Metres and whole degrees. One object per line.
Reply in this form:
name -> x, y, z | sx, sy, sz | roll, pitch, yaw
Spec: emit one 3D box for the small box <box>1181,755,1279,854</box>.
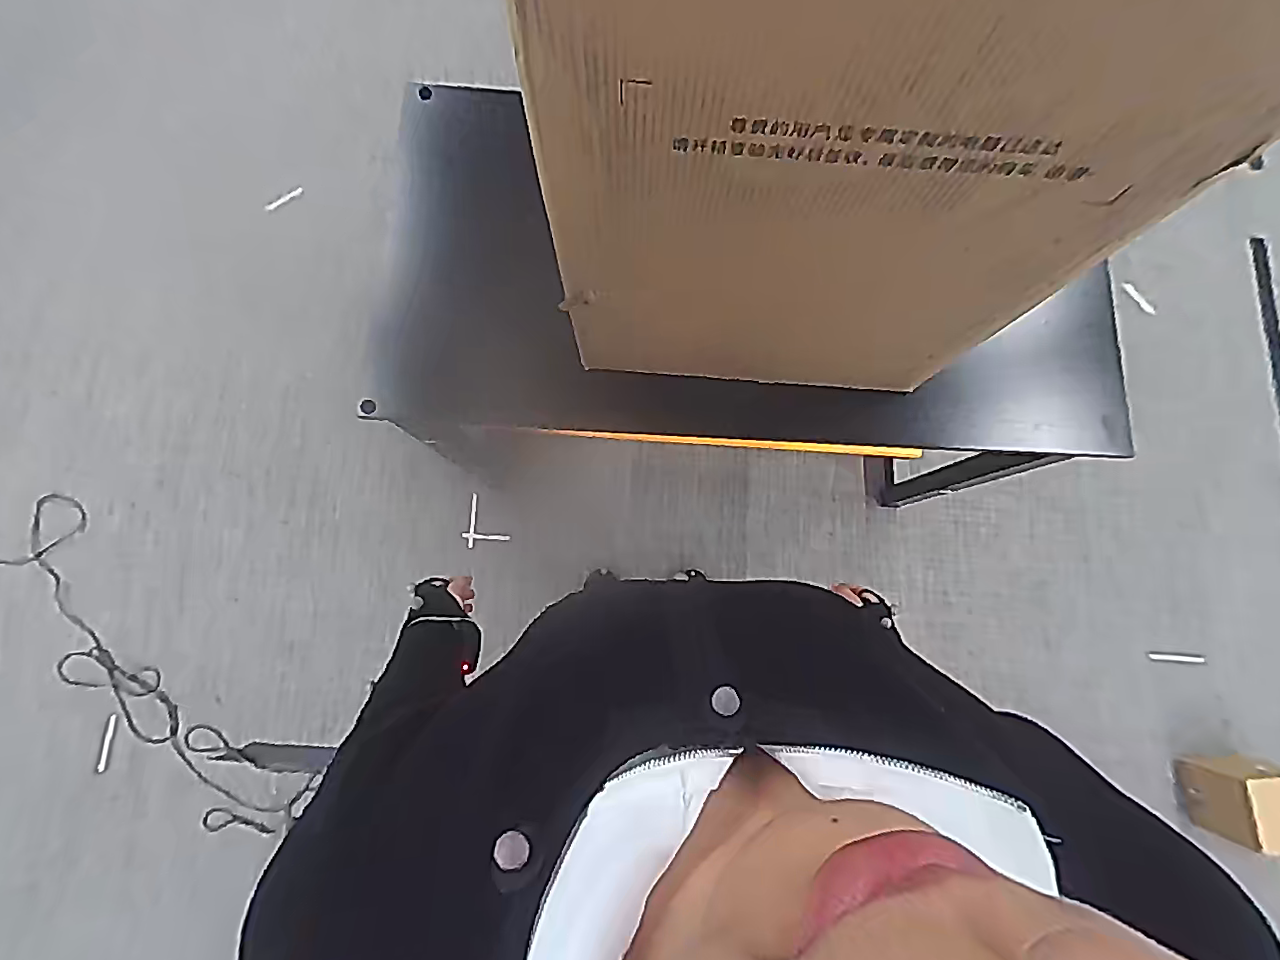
small box -> 1.538, 0.805, 1.358 | 0.179, 0.176, 0.168 | -4, 79, 0
